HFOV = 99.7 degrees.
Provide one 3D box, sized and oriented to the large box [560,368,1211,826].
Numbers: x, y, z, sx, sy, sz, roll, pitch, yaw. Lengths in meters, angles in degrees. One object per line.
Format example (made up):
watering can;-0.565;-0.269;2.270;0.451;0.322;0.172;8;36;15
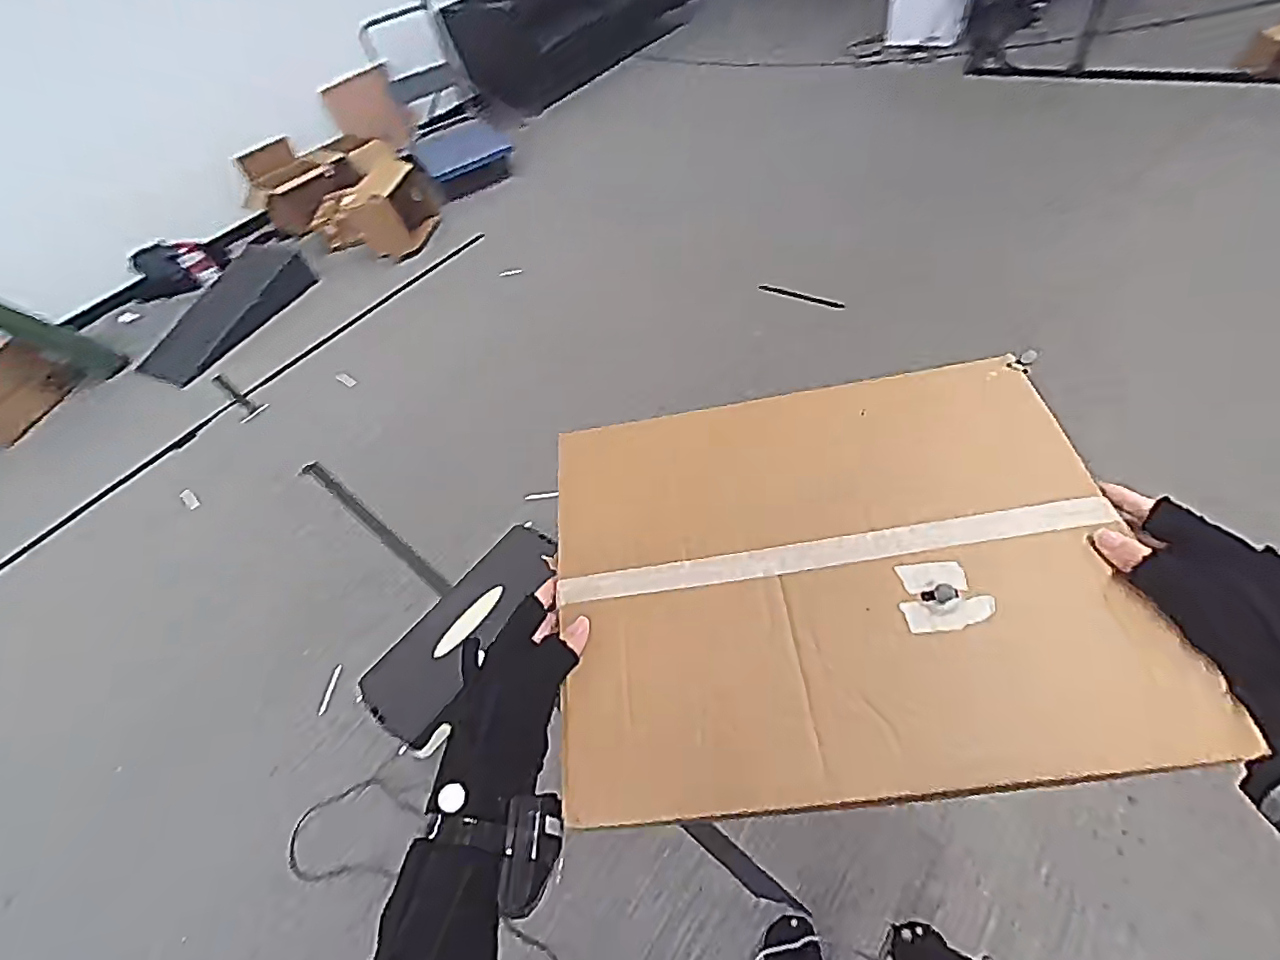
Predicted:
large box;0.157;0.139;0.542;0.408;0.320;0.320;-10;57;4
